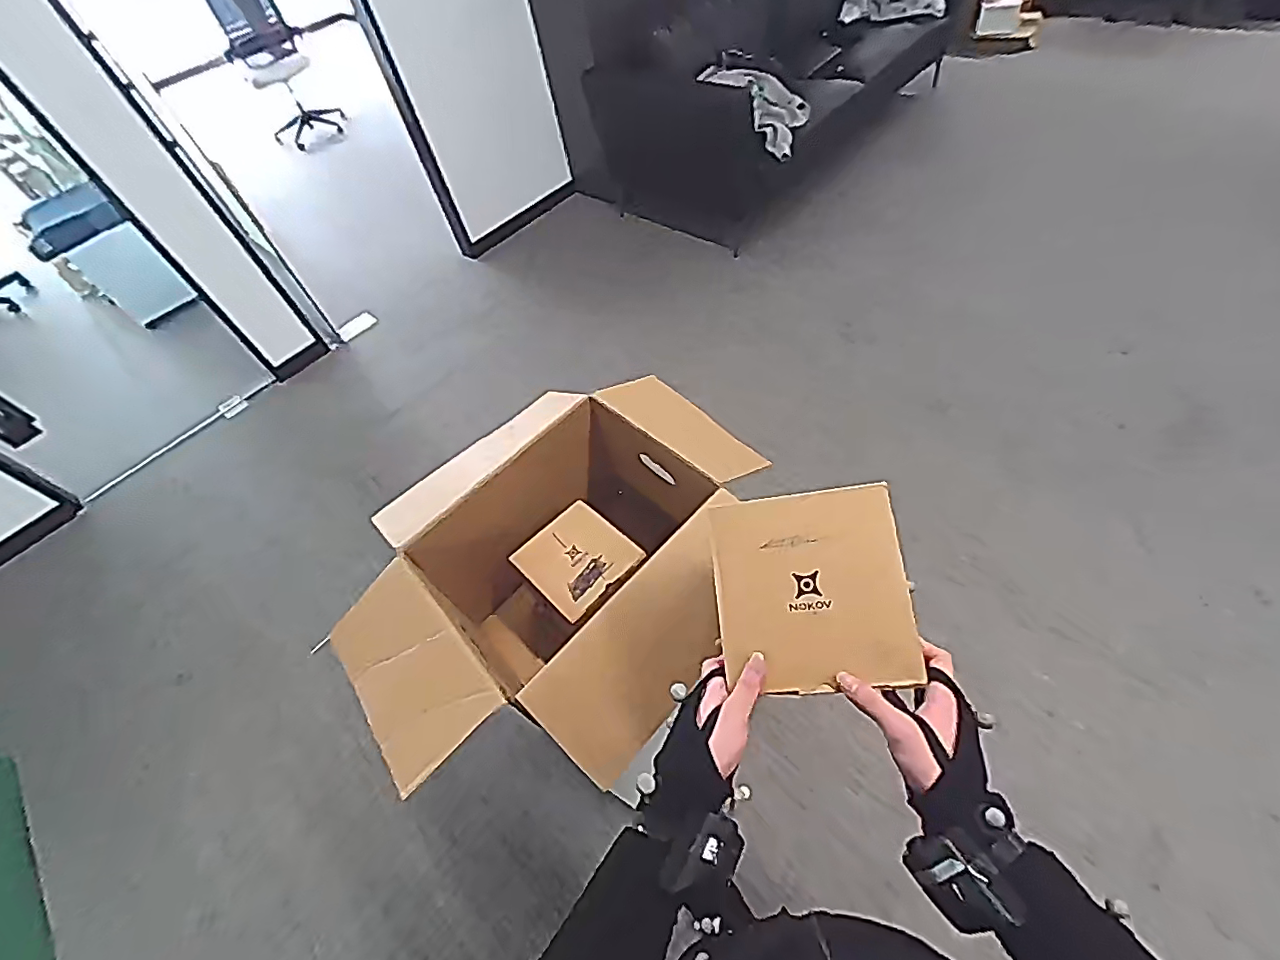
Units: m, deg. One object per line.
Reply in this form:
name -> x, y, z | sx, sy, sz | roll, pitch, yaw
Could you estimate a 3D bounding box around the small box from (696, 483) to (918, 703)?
small box -> 0.157, 0.116, 0.543 | 0.168, 0.176, 0.179 | -9, 73, 12
